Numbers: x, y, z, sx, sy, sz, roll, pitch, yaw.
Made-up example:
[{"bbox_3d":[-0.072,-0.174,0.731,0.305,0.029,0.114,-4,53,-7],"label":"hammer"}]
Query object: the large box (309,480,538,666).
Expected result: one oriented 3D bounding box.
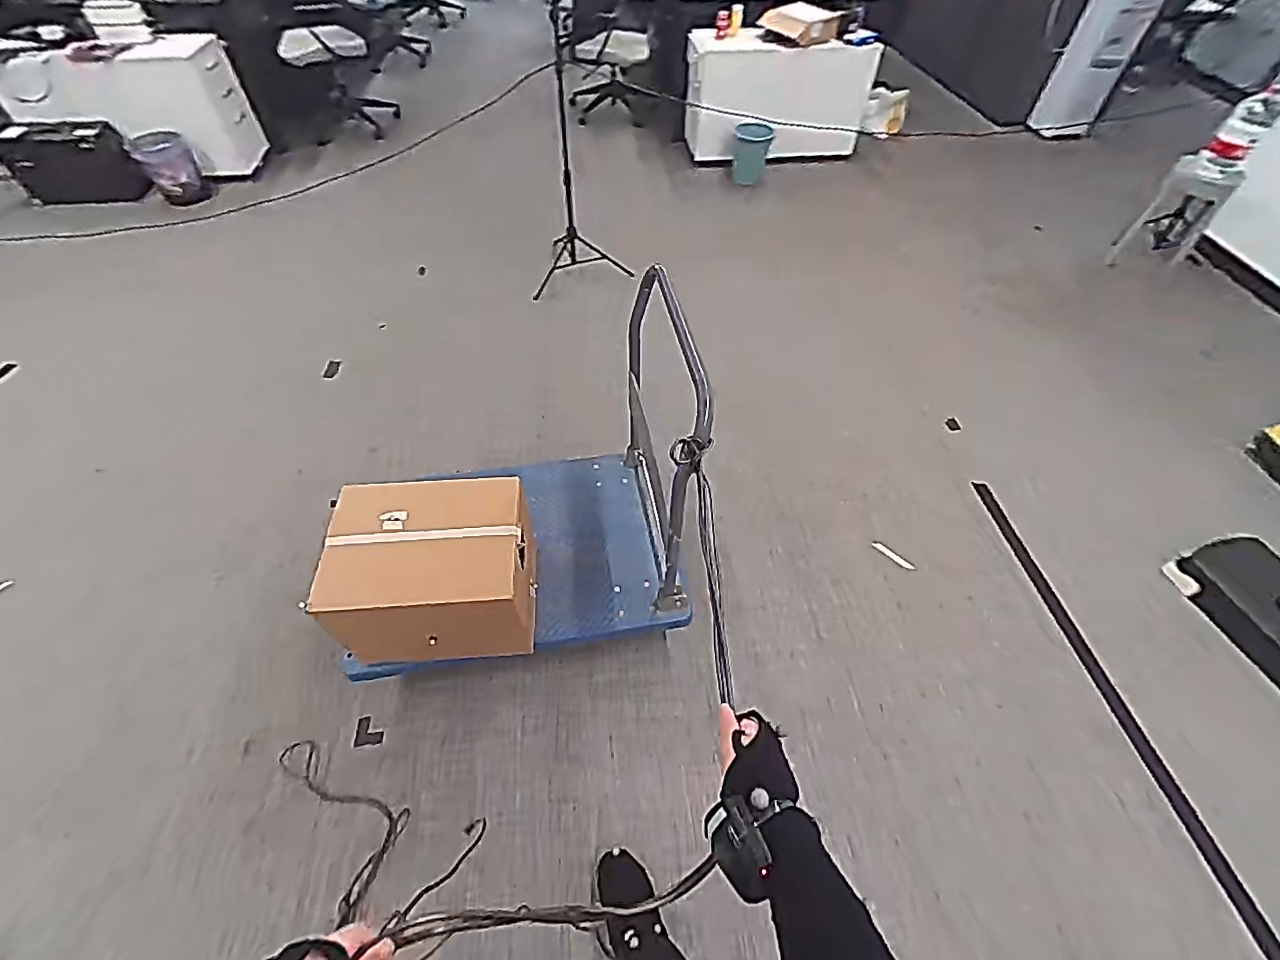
[{"bbox_3d":[-0.460,0.223,1.268,0.408,0.320,0.320,-3,52,-3],"label":"large box"}]
